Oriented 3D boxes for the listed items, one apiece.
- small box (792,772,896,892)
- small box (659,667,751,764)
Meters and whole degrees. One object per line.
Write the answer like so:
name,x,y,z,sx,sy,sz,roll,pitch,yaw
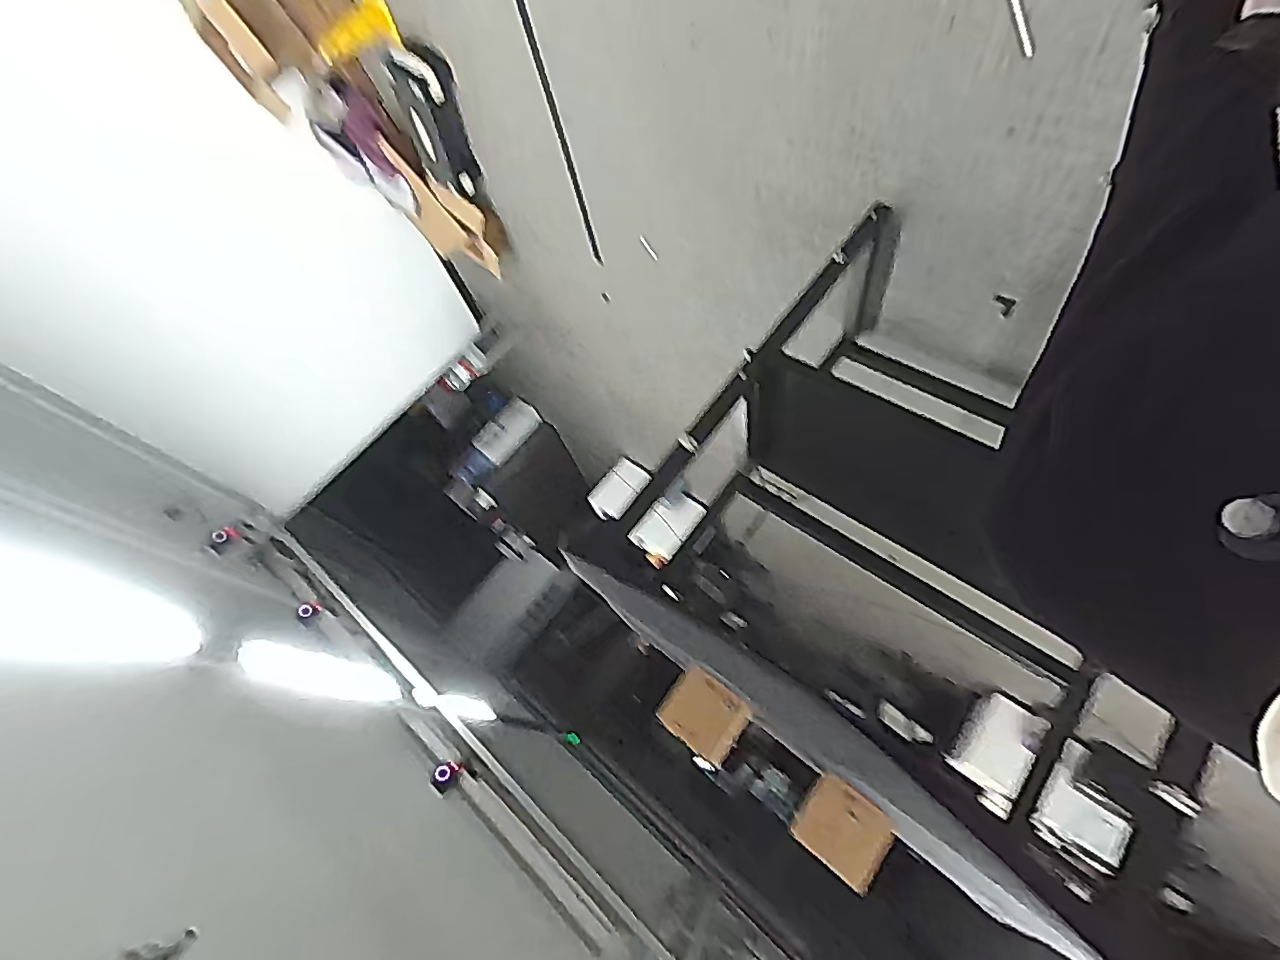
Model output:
small box,0.480,0.822,1.284,0.168,0.176,0.179,32,162,28
small box,0.176,0.612,1.414,0.168,0.176,0.179,32,163,27
